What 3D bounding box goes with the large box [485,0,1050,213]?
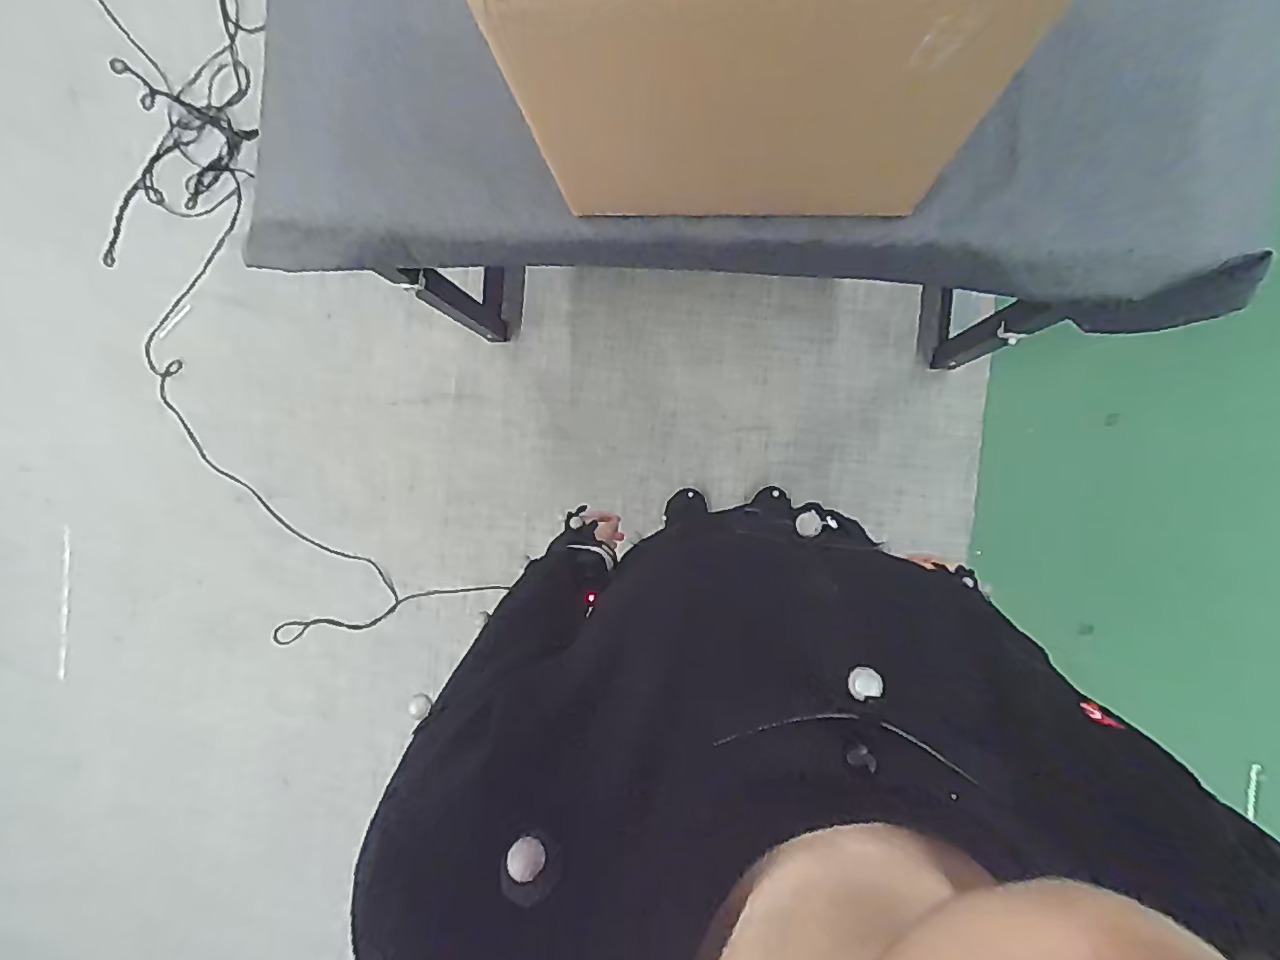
[{"bbox_3d":[0.102,-0.477,0.502,0.408,0.320,0.320,3,89,6],"label":"large box"}]
